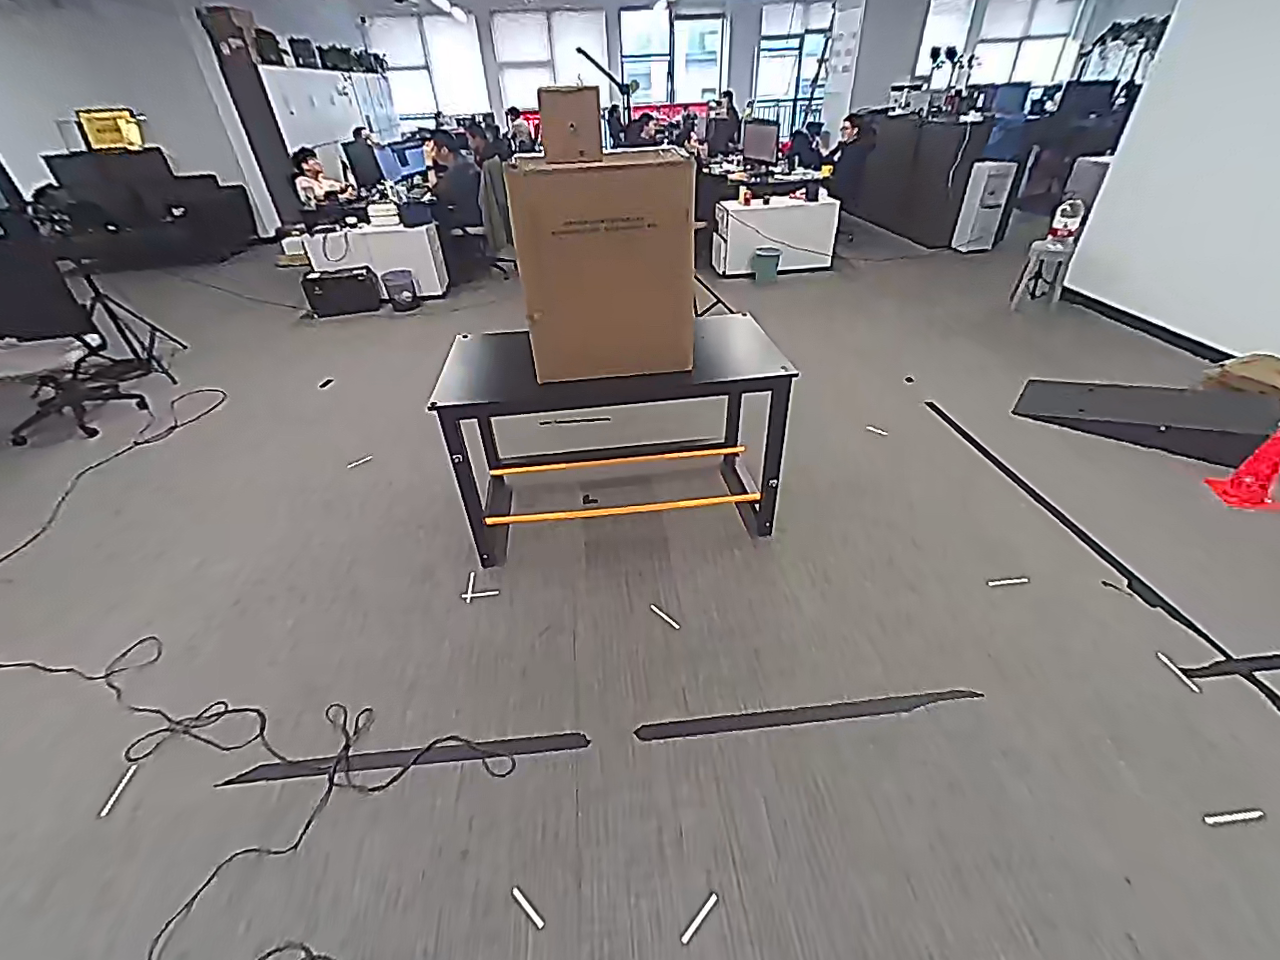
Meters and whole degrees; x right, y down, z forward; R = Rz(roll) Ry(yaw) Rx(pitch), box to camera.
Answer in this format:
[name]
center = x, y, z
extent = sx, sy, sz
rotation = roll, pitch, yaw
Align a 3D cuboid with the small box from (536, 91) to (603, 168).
[small box]
center = -0.195, -0.987, 1.526
extent = 0.168, 0.176, 0.179
rotation = -5, 39, -4
